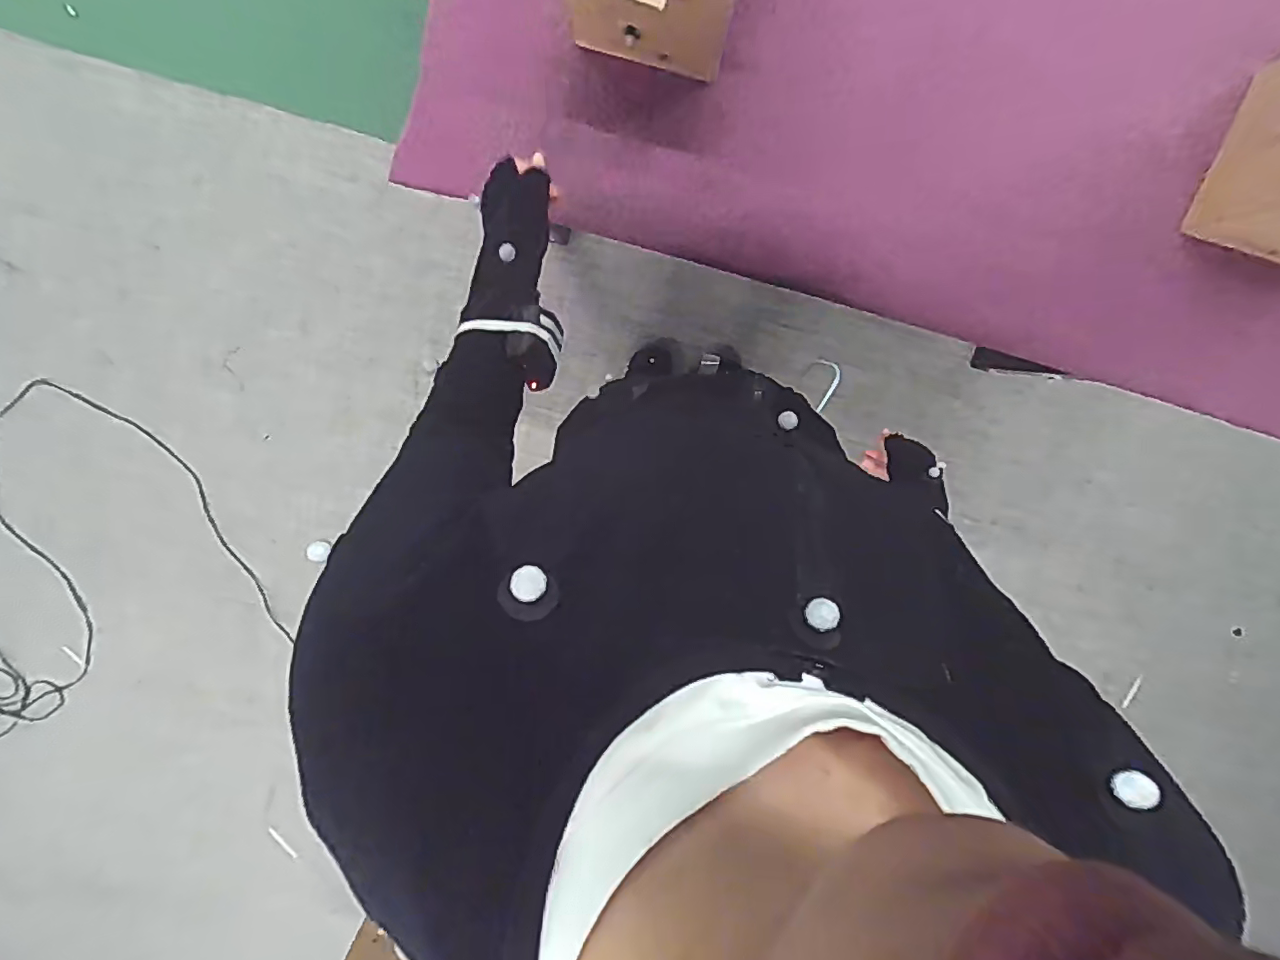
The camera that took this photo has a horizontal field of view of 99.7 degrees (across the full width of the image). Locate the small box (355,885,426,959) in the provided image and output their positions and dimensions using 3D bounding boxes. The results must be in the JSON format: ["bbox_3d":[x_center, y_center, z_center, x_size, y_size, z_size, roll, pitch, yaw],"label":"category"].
[{"bbox_3d":[-0.841,1.512,1.813,0.168,0.176,0.179,15,102,0],"label":"small box"}]

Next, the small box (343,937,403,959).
[{"bbox_3d":[-0.849,1.556,1.652,0.168,0.176,0.179,17,105,-4],"label":"small box"}]

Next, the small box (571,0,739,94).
[{"bbox_3d":[0.025,-0.530,0.532,0.168,0.176,0.179,13,105,-3],"label":"small box"}]
